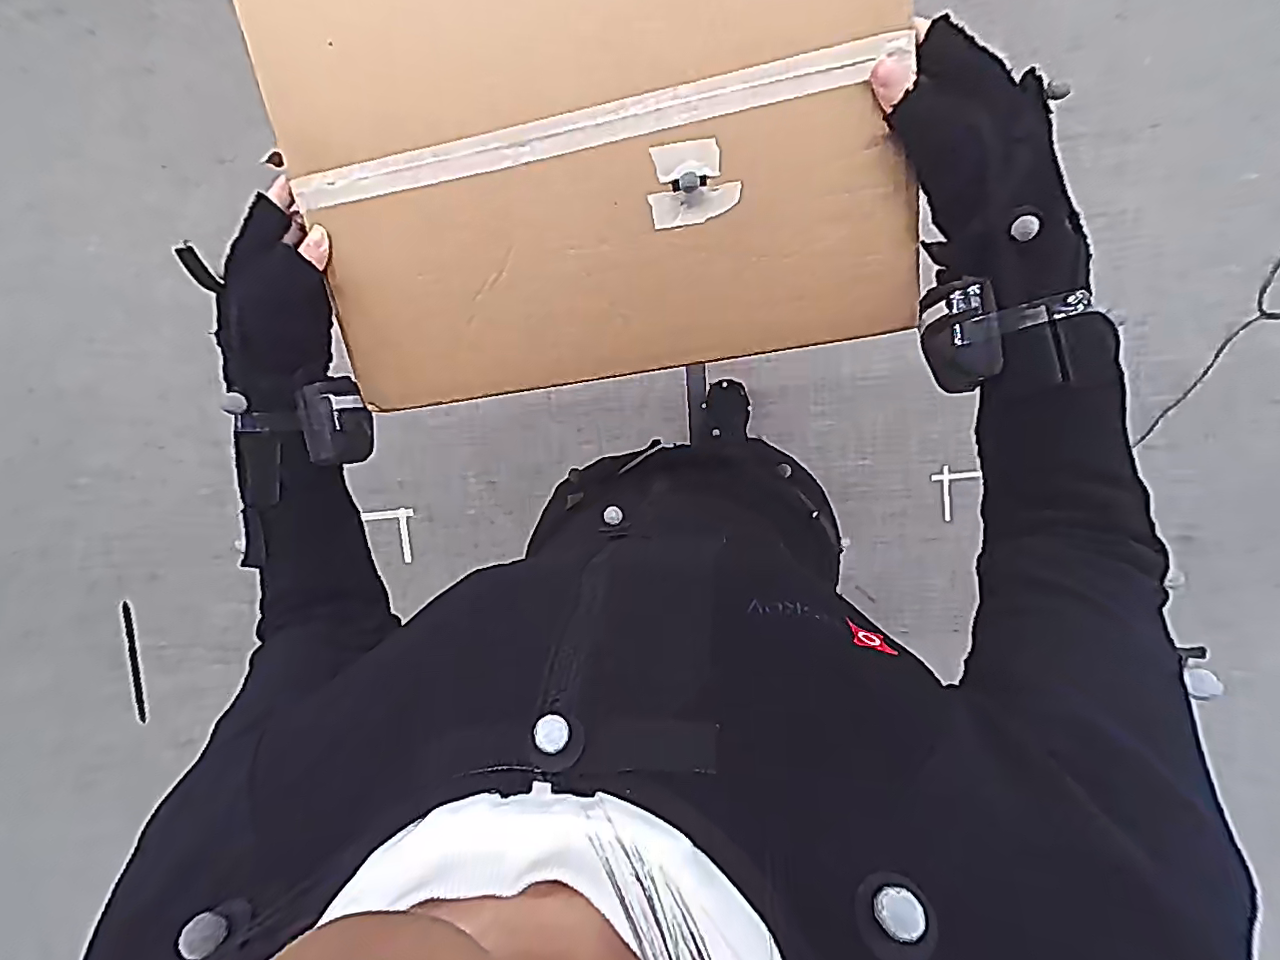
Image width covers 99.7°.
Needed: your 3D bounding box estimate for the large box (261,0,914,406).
[{"bbox_3d":[-0.020,-0.275,0.500,0.408,0.320,0.320,-8,107,8],"label":"large box"}]
